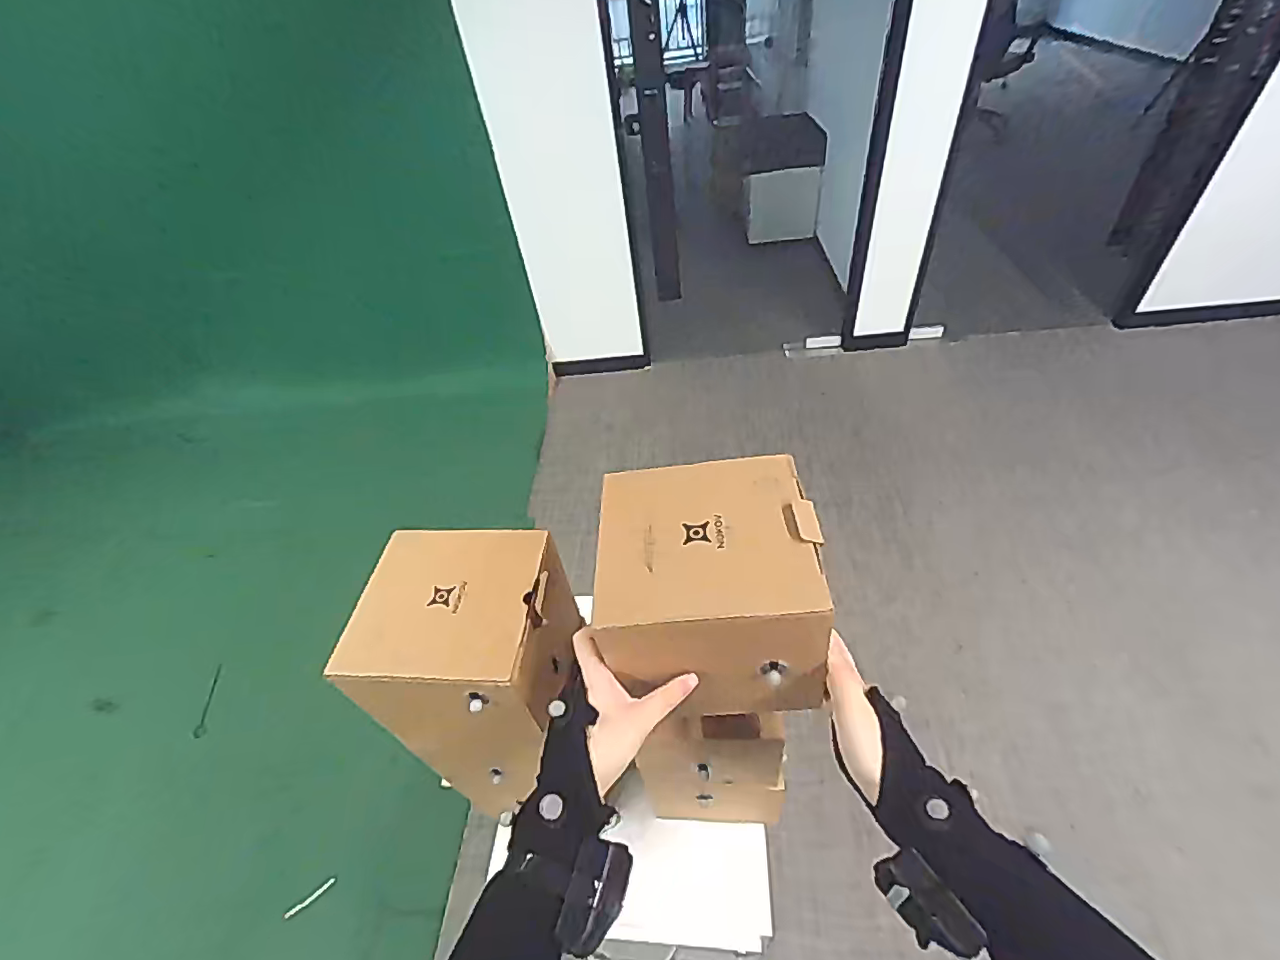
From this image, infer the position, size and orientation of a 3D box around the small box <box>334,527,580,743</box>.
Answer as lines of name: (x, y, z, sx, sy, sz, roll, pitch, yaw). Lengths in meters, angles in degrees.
small box: (-0.174, 0.167, 0.580, 0.179, 0.176, 0.168, -1, 46, 7)

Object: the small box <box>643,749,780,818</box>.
small box: (0.106, 0.379, 0.790, 0.179, 0.176, 0.168, -1, 46, 8)

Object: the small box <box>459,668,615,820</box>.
small box: (-0.140, 0.395, 0.813, 0.179, 0.176, 0.168, 0, 46, 6)

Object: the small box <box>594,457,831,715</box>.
small box: (0.065, 0.102, 0.504, 0.179, 0.176, 0.168, -7, 43, 8)

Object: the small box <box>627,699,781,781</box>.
small box: (0.080, 0.262, 0.677, 0.168, 0.176, 0.179, -3, 45, 6)
